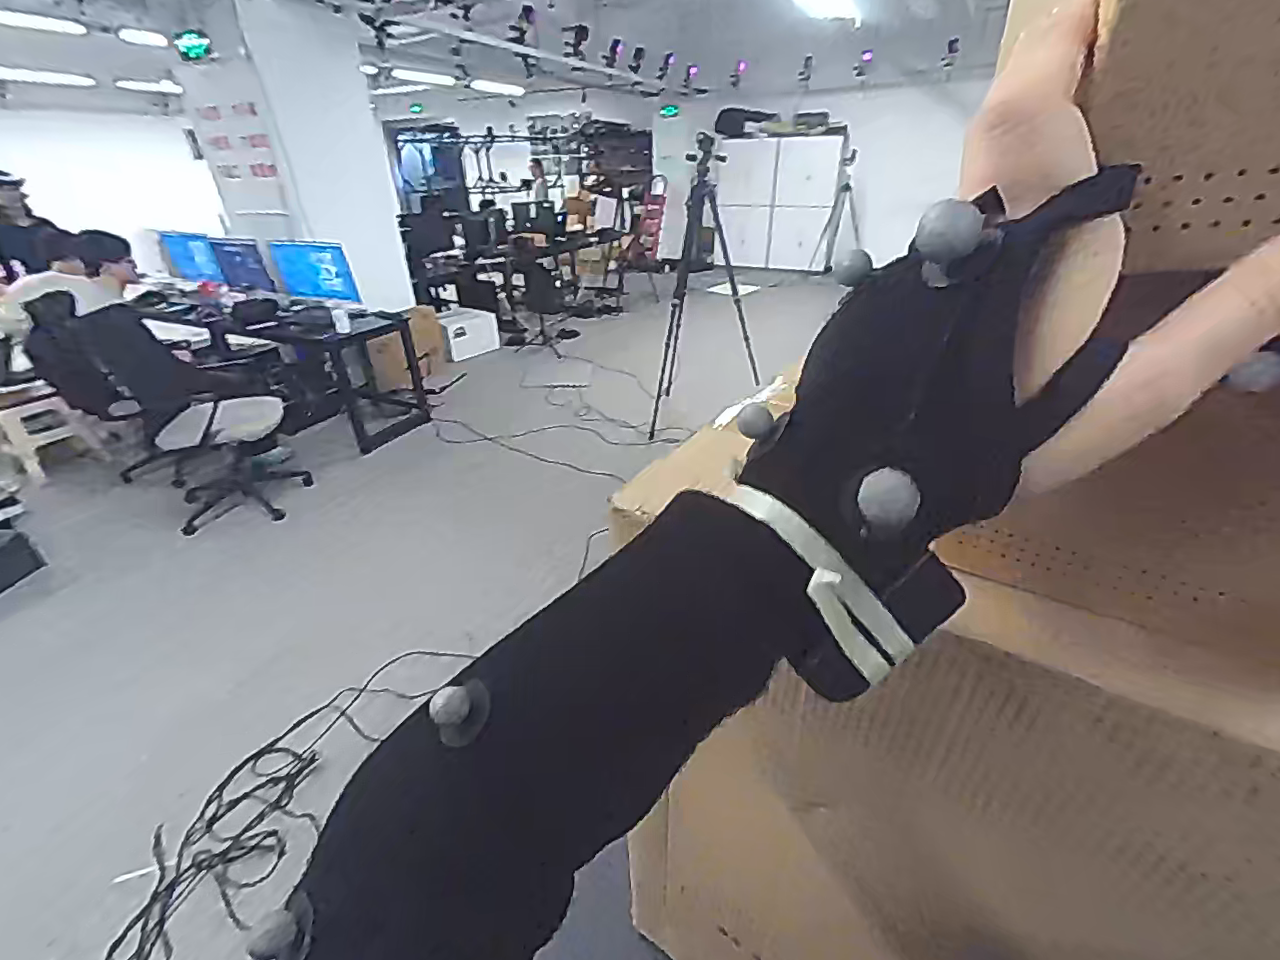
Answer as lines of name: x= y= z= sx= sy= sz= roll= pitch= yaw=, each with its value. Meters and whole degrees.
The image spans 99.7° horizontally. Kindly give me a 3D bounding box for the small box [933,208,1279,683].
small box: x=0.273 y=-0.029 z=0.270 sx=0.179 sy=0.176 sz=0.168 roll=17 pitch=37 yaw=30
